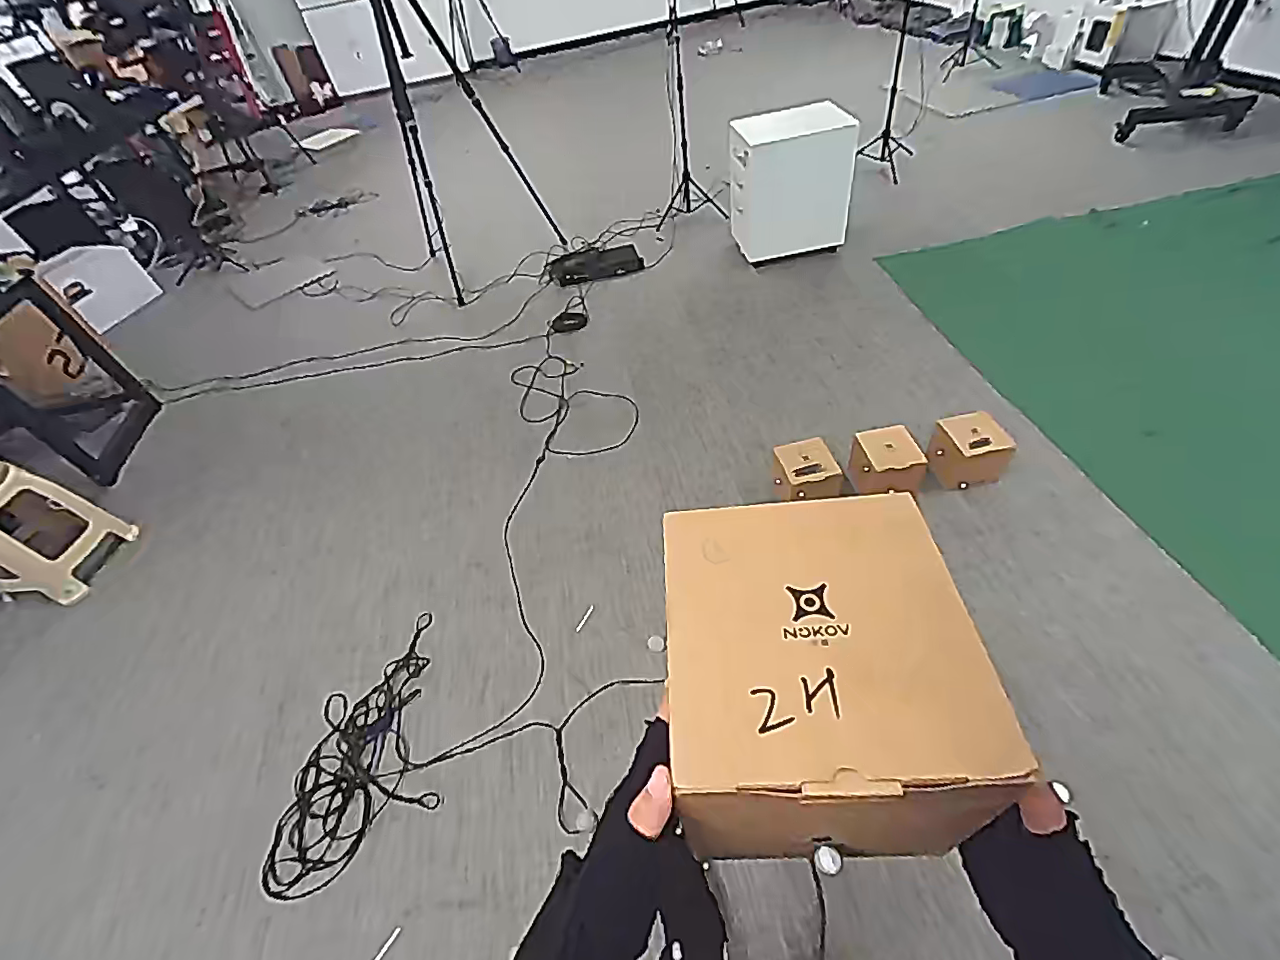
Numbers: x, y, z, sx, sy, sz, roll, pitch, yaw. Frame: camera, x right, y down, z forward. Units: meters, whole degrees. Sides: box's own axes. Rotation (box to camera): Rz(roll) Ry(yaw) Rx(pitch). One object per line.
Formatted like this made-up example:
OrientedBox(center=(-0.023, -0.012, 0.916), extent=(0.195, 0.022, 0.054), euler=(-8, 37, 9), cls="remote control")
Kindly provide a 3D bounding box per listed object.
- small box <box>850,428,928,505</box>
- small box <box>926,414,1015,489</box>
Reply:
OrientedBox(center=(0.811, -0.043, 1.783), extent=(0.168, 0.176, 0.179), euler=(-10, 48, 0), cls="small box")
OrientedBox(center=(1.077, -0.085, 1.774), extent=(0.168, 0.176, 0.179), euler=(-11, 47, 0), cls="small box")
